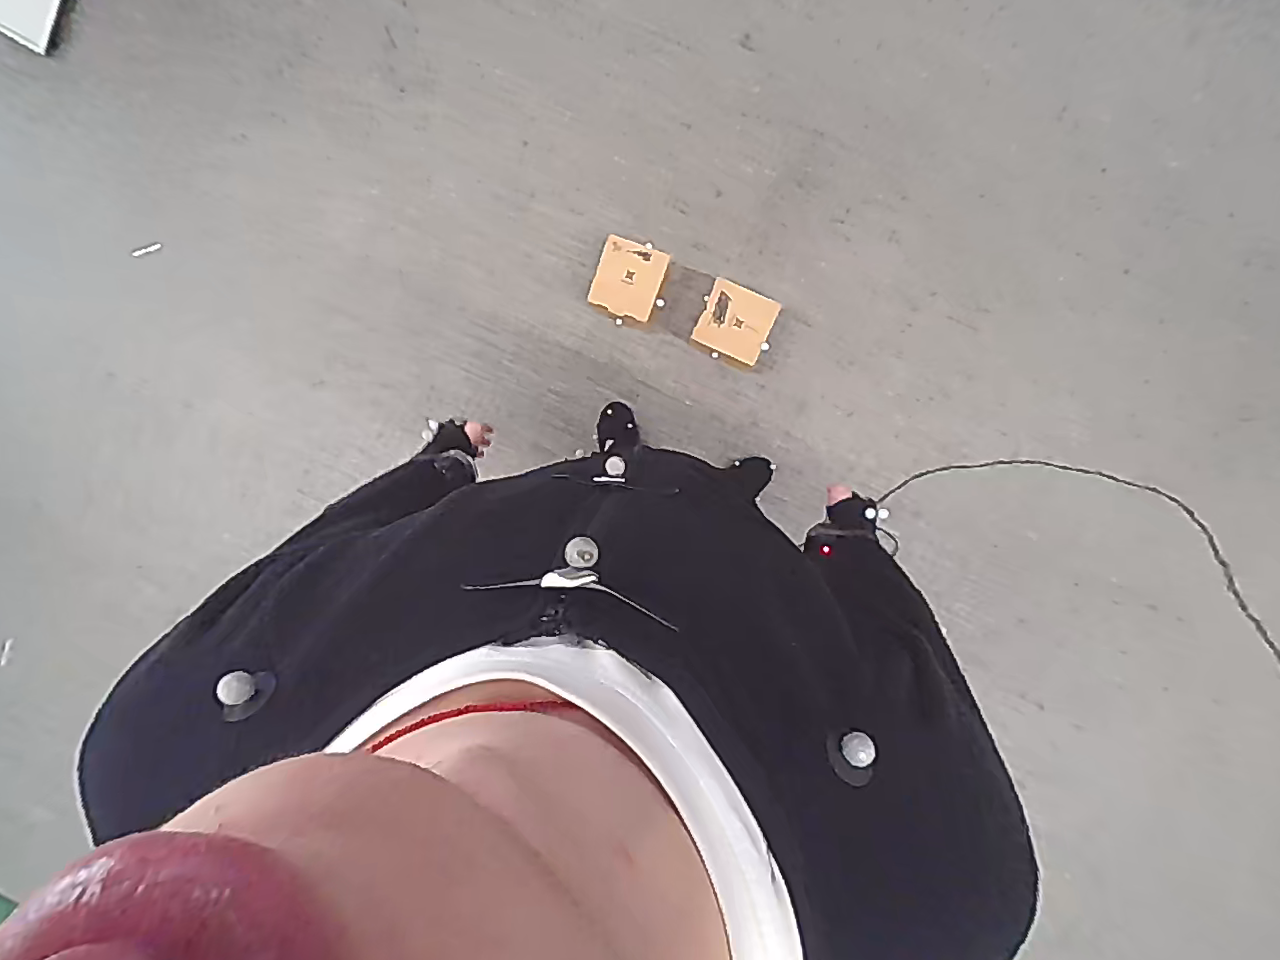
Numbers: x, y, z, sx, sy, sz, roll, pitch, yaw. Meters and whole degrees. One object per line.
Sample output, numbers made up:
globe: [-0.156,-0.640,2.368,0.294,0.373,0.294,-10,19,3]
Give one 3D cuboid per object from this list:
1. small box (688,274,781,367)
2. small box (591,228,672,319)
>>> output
small box: [0.242,-0.408,1.418,0.179,0.176,0.168,30,100,2]
small box: [-0.016,-0.534,1.424,0.179,0.176,0.168,-8,94,8]
